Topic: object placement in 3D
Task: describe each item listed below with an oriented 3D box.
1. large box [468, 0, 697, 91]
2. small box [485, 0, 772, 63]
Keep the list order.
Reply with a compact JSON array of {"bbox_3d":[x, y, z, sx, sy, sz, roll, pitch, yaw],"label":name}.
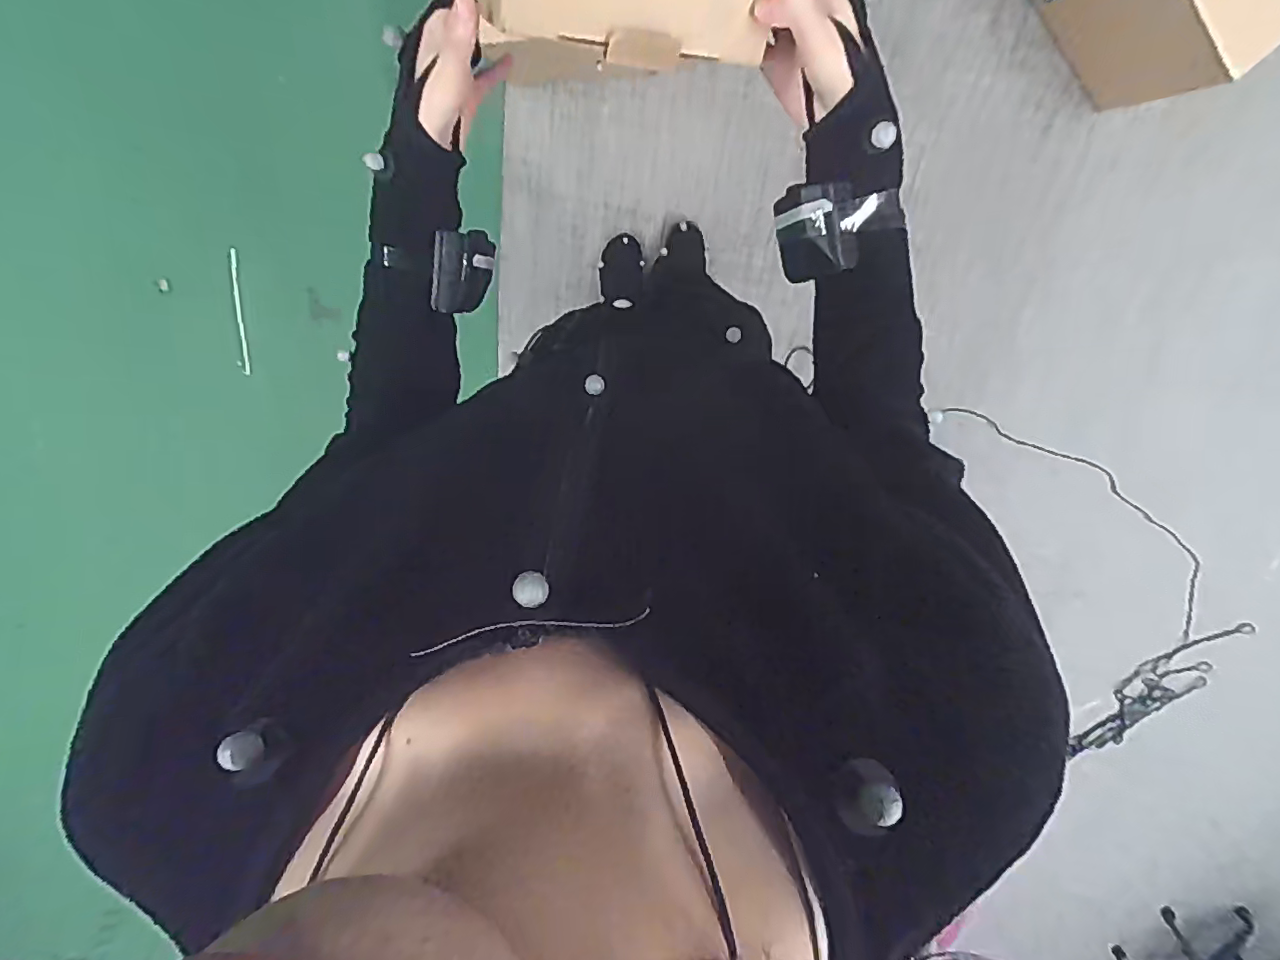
[{"bbox_3d":[-0.095,-0.950,0.992,0.408,0.320,0.320,-4,114,2],"label":"large box"},{"bbox_3d":[-0.014,-0.373,0.314,0.168,0.176,0.179,-7,134,-19],"label":"small box"}]
